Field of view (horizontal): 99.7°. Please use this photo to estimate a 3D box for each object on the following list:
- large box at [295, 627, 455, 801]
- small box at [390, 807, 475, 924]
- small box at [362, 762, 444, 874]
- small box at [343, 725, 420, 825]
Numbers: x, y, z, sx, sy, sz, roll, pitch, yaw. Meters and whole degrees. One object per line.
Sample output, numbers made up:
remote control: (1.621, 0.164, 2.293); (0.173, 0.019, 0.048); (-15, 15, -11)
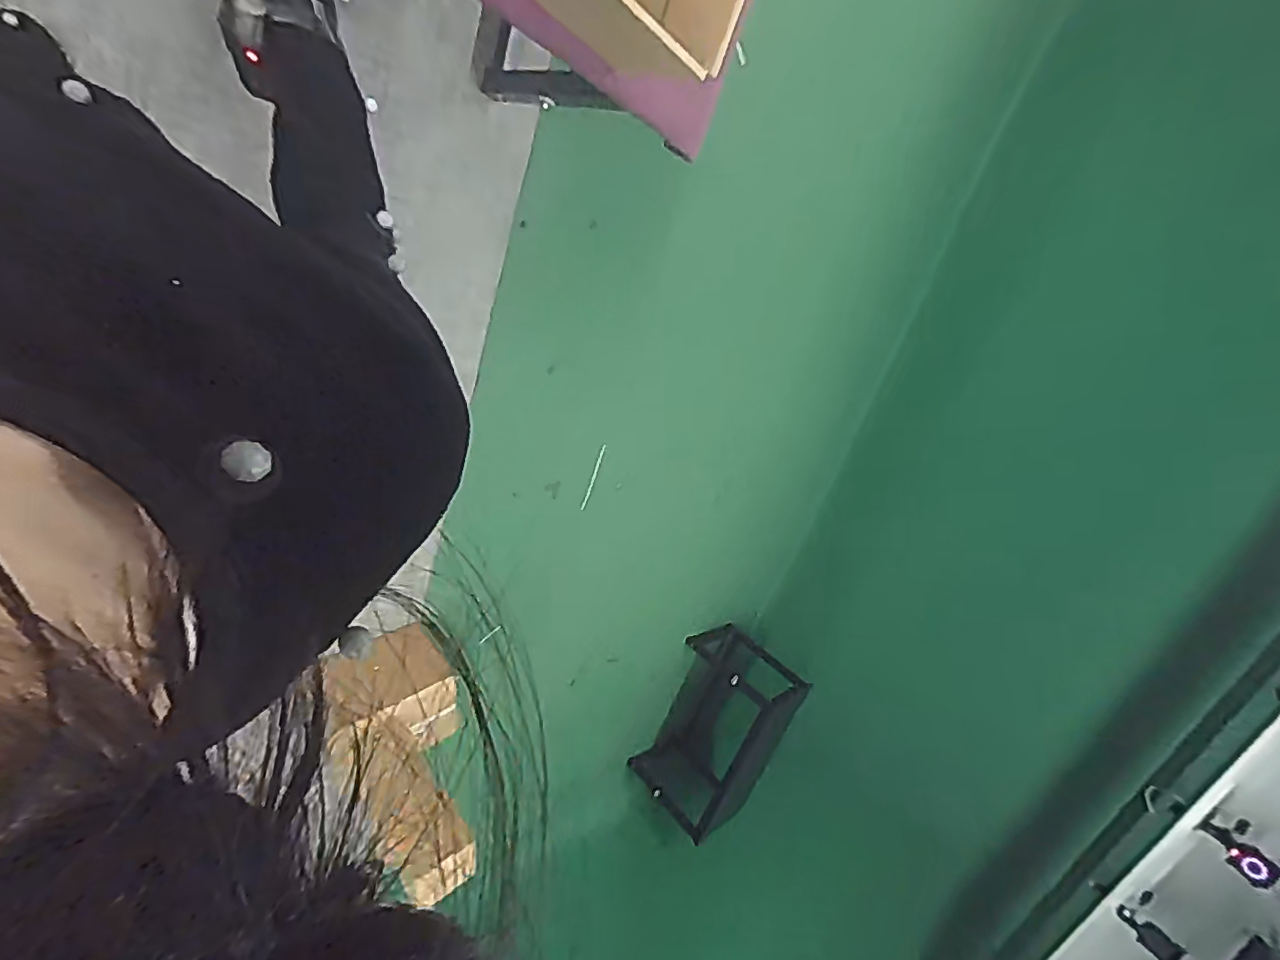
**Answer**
large box: (-0.905, 0.788, 1.873); (0.408, 0.320, 0.320); (-19, 131, -41)
small box: (-0.569, 1.040, 1.479); (0.168, 0.176, 0.179); (-17, 128, -41)
small box: (-0.688, 0.972, 1.567); (0.179, 0.176, 0.168); (-19, 129, -41)
small box: (-0.799, 0.900, 1.665); (0.179, 0.176, 0.168); (-13, 126, -43)
